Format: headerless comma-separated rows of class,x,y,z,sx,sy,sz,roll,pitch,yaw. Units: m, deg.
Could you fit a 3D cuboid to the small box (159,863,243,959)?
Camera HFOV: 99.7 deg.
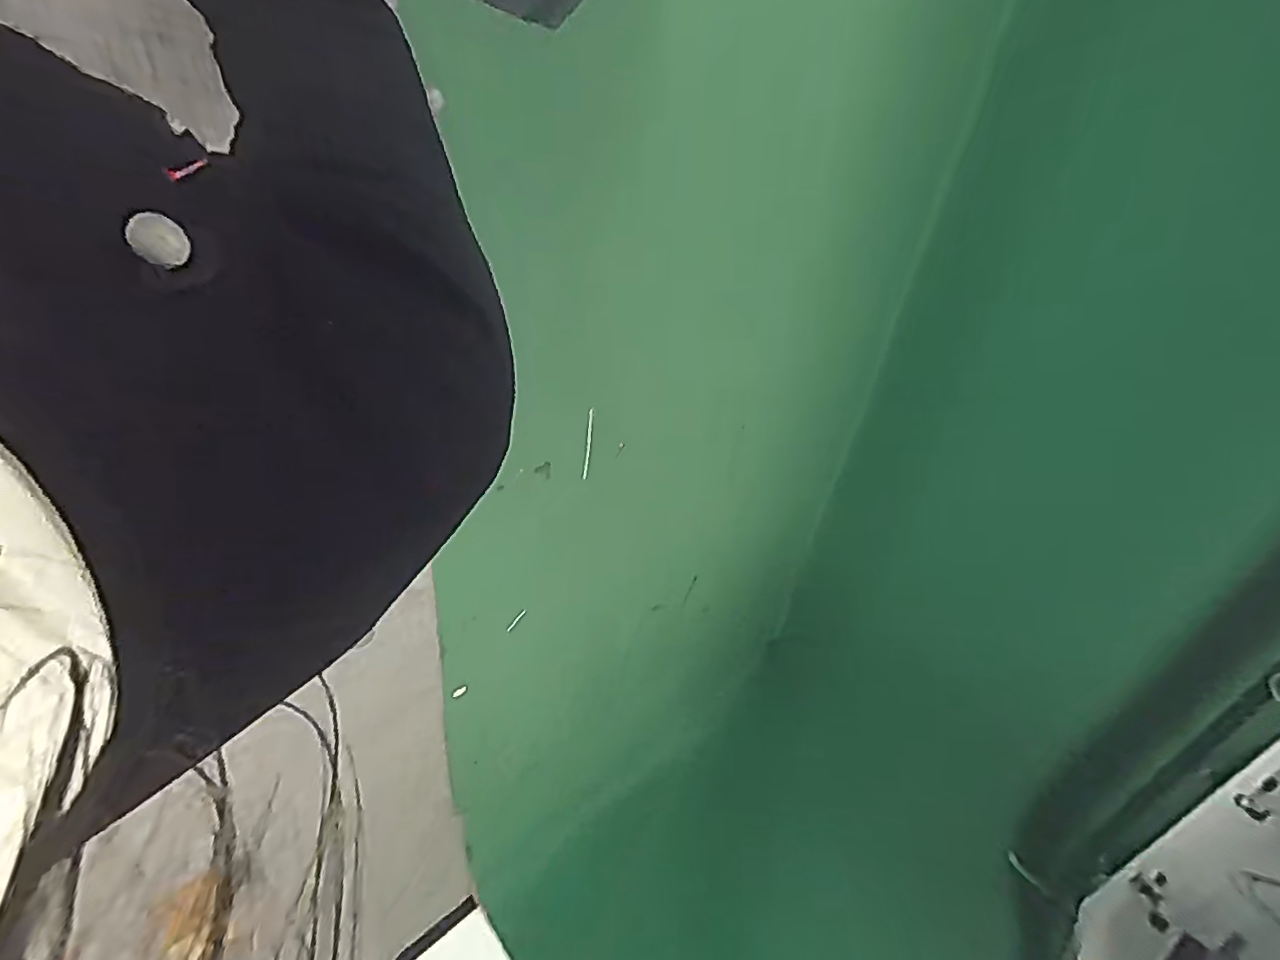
small box,-1.438,1.416,1.767,0.179,0.176,0.168,-19,132,-43
